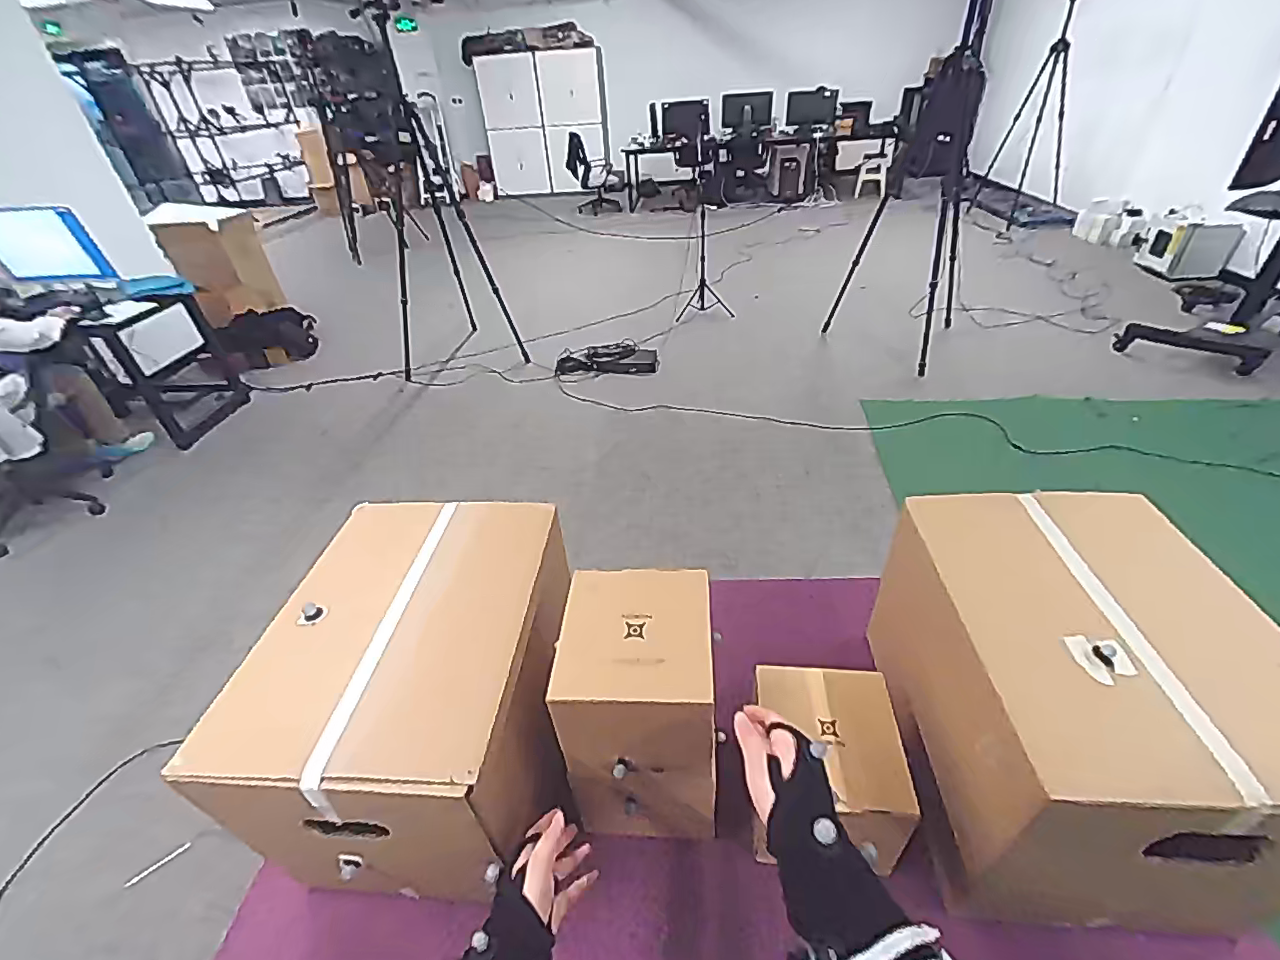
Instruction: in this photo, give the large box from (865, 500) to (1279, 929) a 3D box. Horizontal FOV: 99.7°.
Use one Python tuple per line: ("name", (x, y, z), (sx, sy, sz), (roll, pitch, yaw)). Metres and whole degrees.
("large box", (0.523, 0.271, 0.693), (0.320, 0.320, 0.408), (0, 38, 6))
